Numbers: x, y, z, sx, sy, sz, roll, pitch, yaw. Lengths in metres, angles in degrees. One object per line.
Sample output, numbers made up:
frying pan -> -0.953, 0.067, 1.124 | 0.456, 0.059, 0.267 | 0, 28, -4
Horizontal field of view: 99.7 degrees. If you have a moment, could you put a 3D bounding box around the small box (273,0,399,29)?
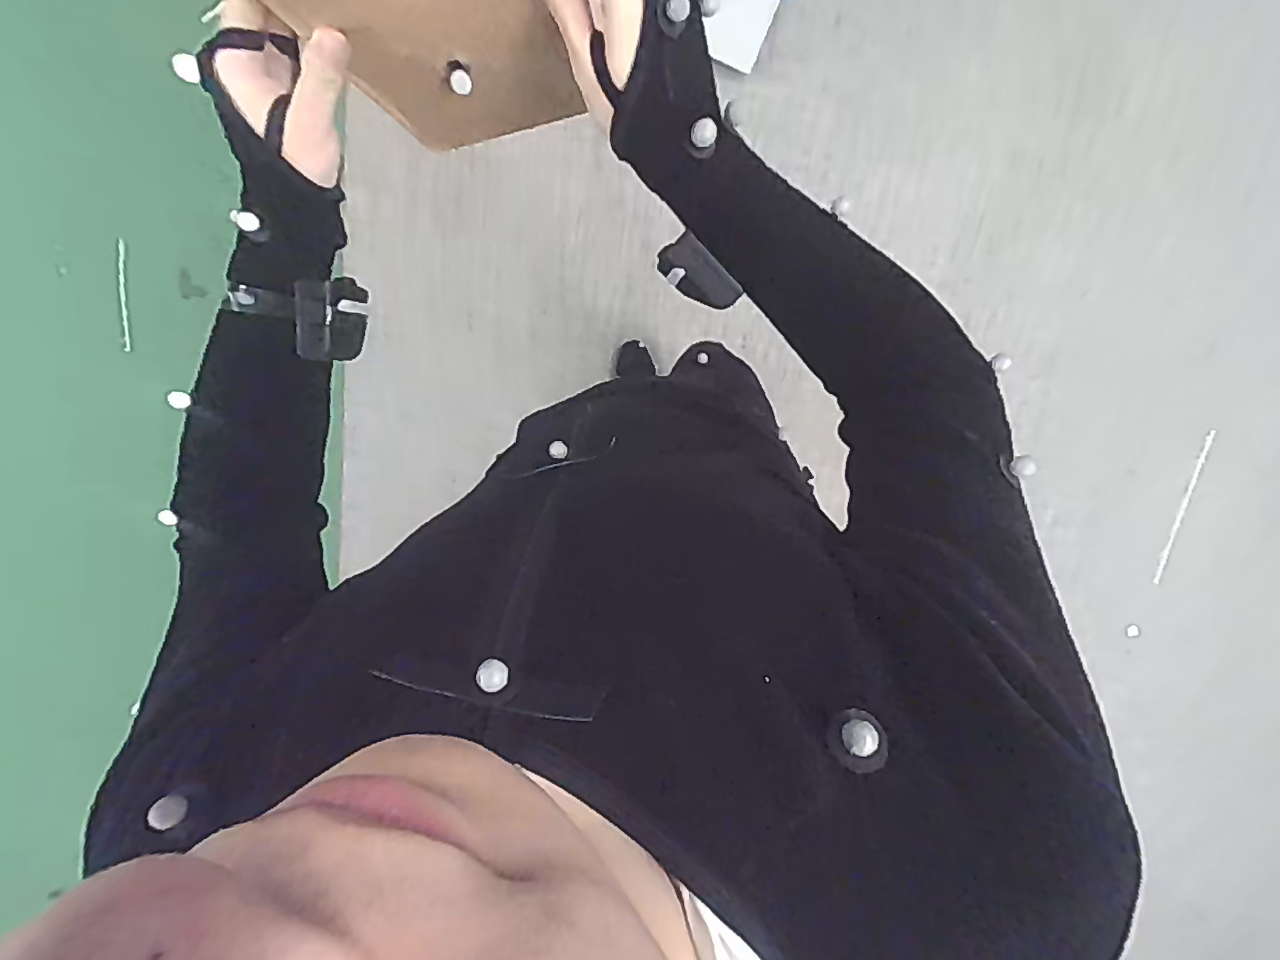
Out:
small box -> -0.150, -0.353, 0.236 | 0.179, 0.176, 0.168 | -11, 97, 7

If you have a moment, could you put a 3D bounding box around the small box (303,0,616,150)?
small box -> -0.127, -0.377, 0.395 | 0.179, 0.176, 0.168 | -9, 97, 9
